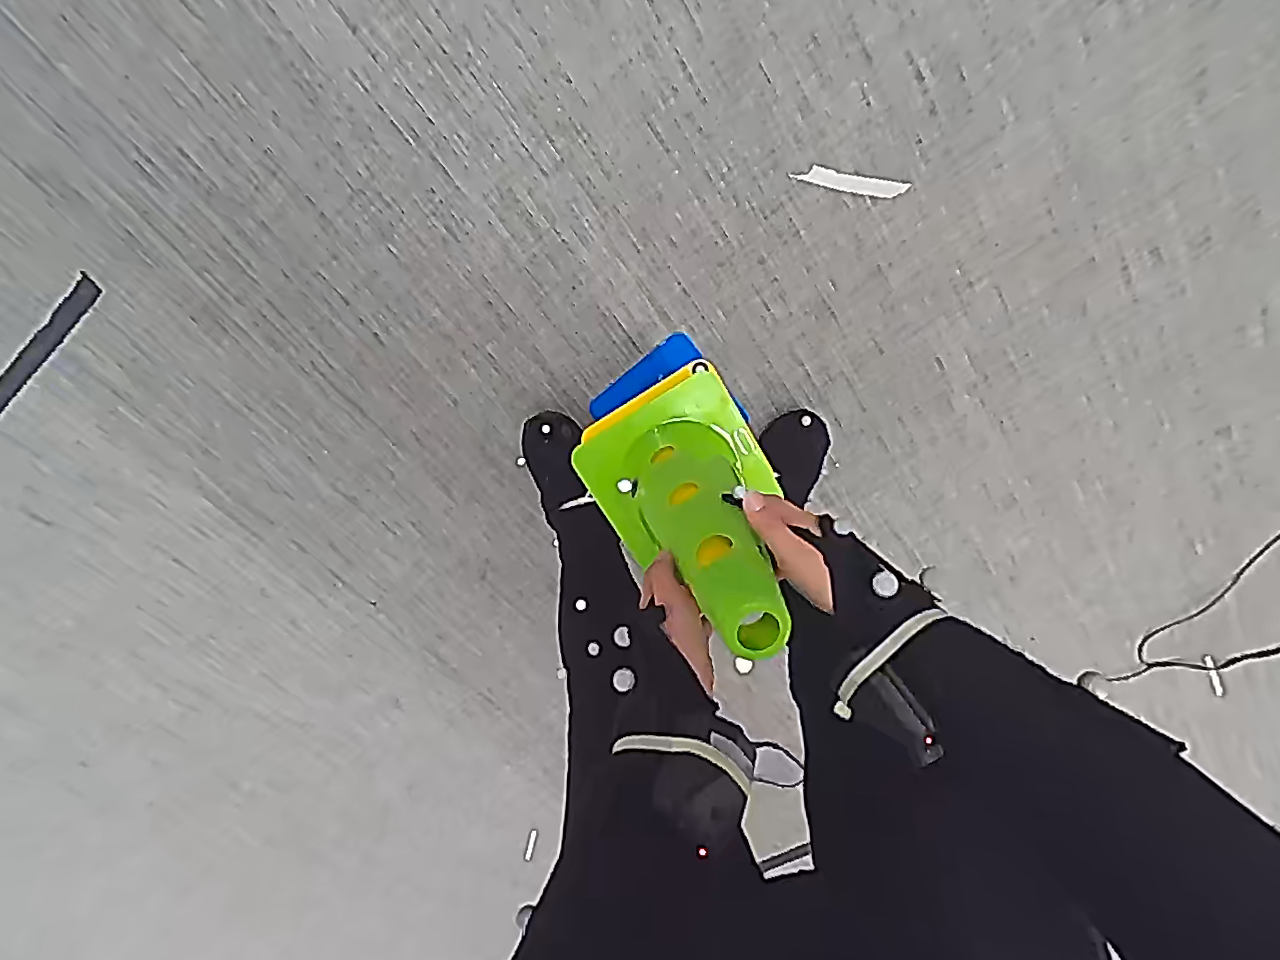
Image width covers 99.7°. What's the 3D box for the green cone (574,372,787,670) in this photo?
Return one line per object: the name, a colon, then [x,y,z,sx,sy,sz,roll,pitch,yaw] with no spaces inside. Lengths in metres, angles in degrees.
green cone: [0.057,0.042,0.479,0.202,0.368,0.200,-32,103,6]
